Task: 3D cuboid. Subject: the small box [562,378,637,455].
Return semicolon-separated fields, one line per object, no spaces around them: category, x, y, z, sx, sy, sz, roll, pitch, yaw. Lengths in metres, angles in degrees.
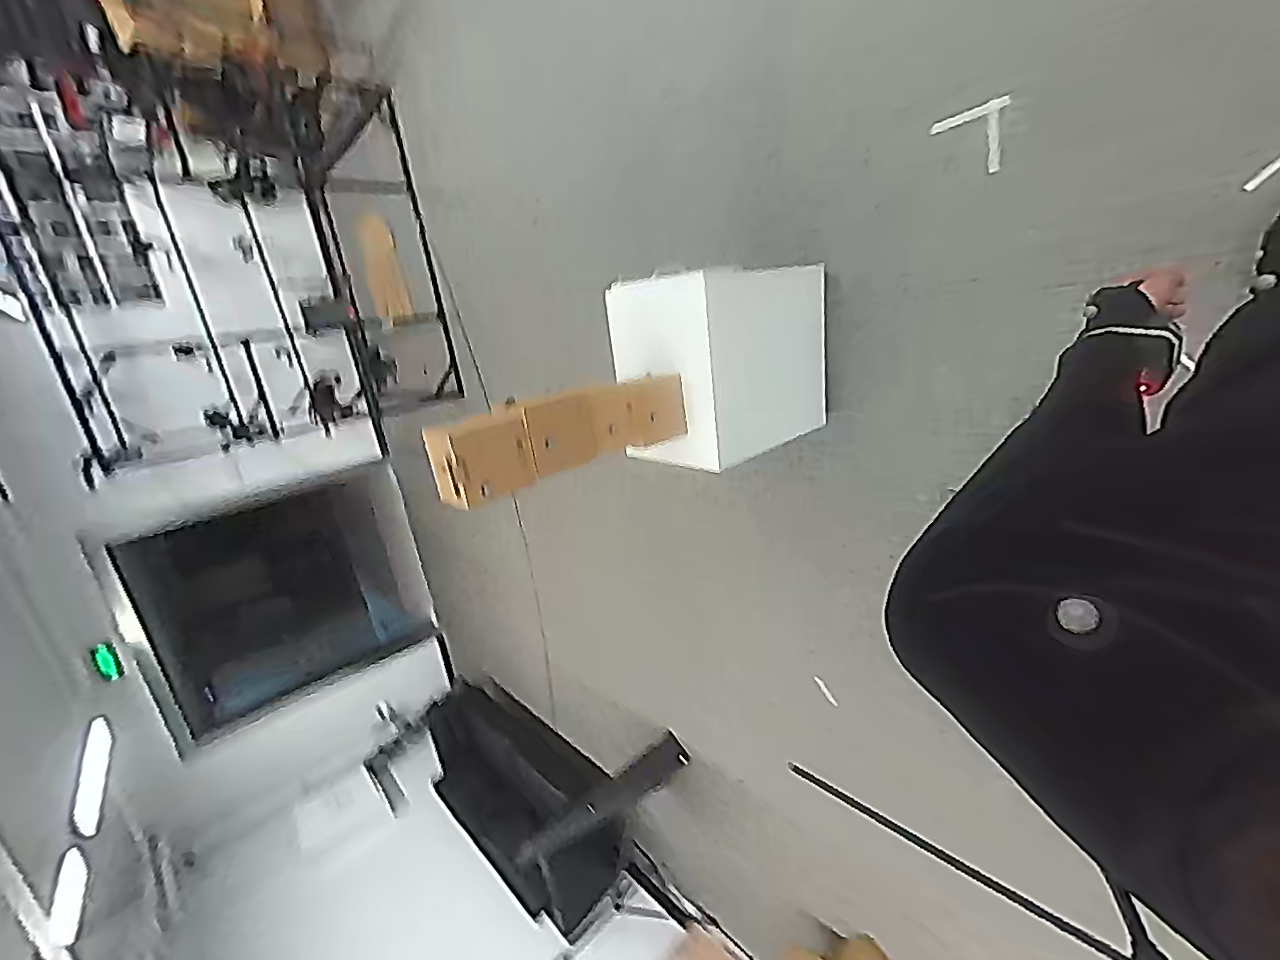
small box;-0.120;-0.172;1.416;0.179;0.176;0.168;12;116;48

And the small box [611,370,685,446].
small box;0.010;-0.205;1.508;0.168;0.176;0.179;10;114;48

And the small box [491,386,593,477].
small box;-0.231;-0.123;1.302;0.168;0.176;0.179;11;115;48
